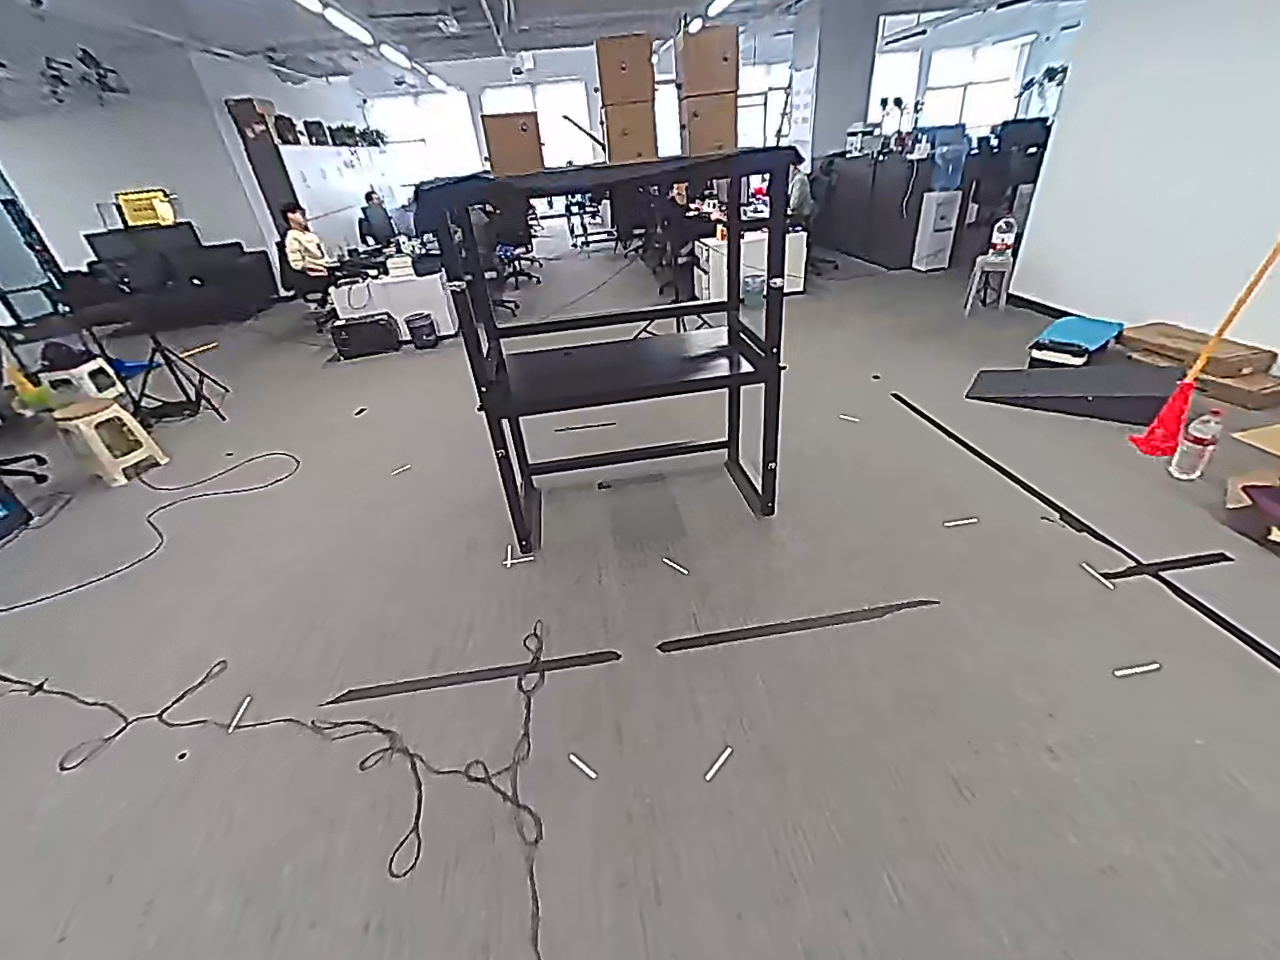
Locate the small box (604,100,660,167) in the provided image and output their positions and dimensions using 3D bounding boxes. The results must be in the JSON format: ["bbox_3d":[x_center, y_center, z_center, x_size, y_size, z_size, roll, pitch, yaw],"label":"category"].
[{"bbox_3d":[-0.028,-1.151,1.805,0.168,0.176,0.179,-7,30,-1],"label":"small box"}]

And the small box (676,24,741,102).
[{"bbox_3d":[0.216,-1.317,1.718,0.179,0.176,0.168,-9,29,-3],"label":"small box"}]

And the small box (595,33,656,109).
[{"bbox_3d":[-0.044,-1.287,1.713,0.179,0.176,0.168,-8,30,0],"label":"small box"}]

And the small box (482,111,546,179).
[{"bbox_3d":[-0.403,-1.085,1.756,0.179,0.176,0.168,-11,30,-8],"label":"small box"}]
